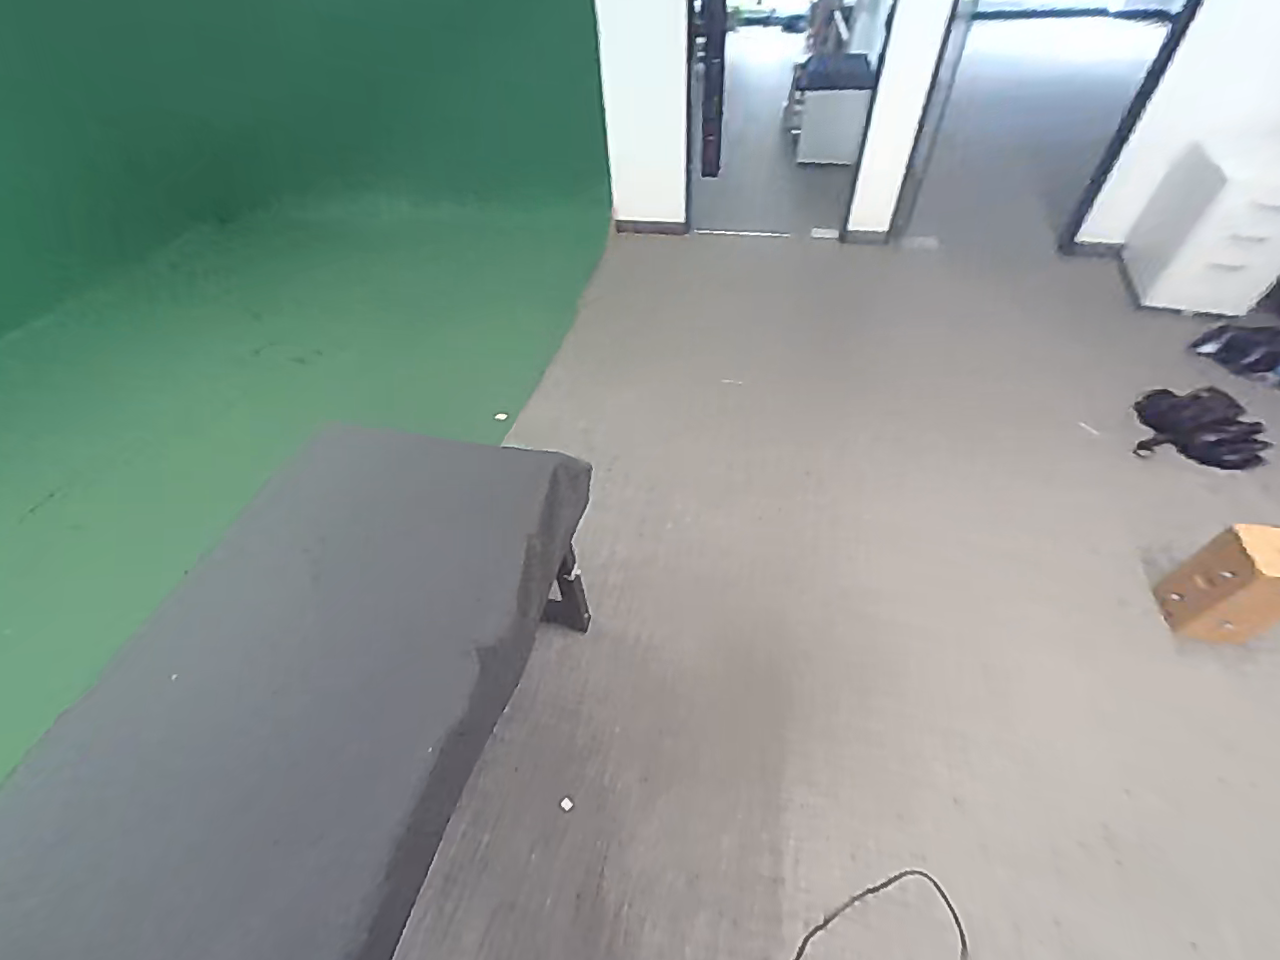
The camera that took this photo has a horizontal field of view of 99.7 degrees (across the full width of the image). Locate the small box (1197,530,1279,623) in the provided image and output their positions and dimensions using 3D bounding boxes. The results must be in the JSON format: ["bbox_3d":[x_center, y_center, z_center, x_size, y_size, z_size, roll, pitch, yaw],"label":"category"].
[{"bbox_3d":[1.632,0.256,1.418,0.179,0.176,0.168,8,49,10],"label":"small box"}]

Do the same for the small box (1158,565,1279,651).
[{"bbox_3d":[1.639,0.366,1.538,0.179,0.176,0.168,6,48,10],"label":"small box"}]
